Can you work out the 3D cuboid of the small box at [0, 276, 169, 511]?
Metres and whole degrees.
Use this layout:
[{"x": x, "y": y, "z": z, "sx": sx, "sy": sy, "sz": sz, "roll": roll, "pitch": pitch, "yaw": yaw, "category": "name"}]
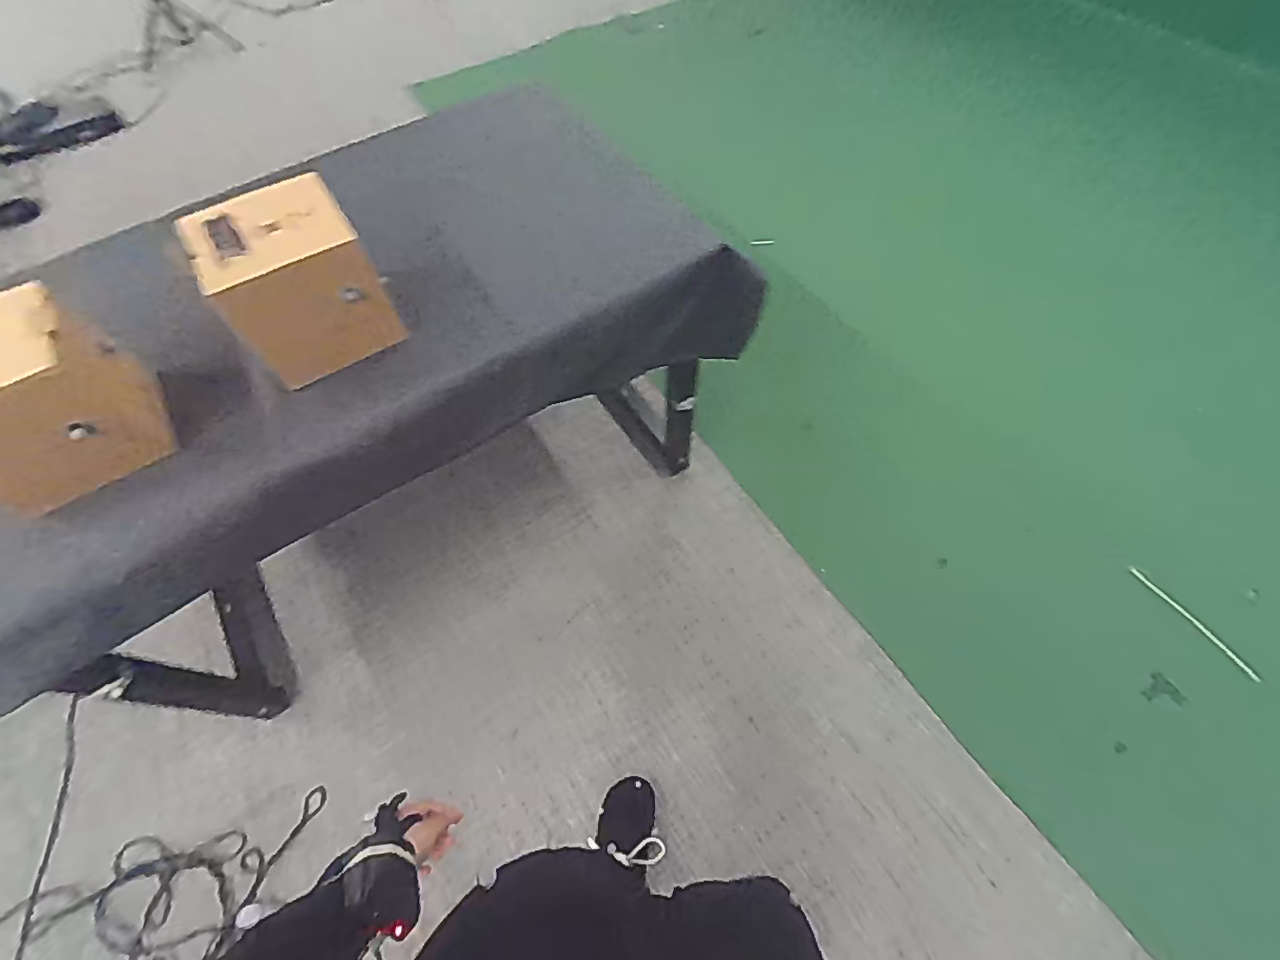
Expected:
[{"x": -0.707, "y": -0.095, "z": 0.636, "sx": 0.179, "sy": 0.176, "sz": 0.168, "roll": -32, "pitch": 64, "yaw": -14, "category": "small box"}]
